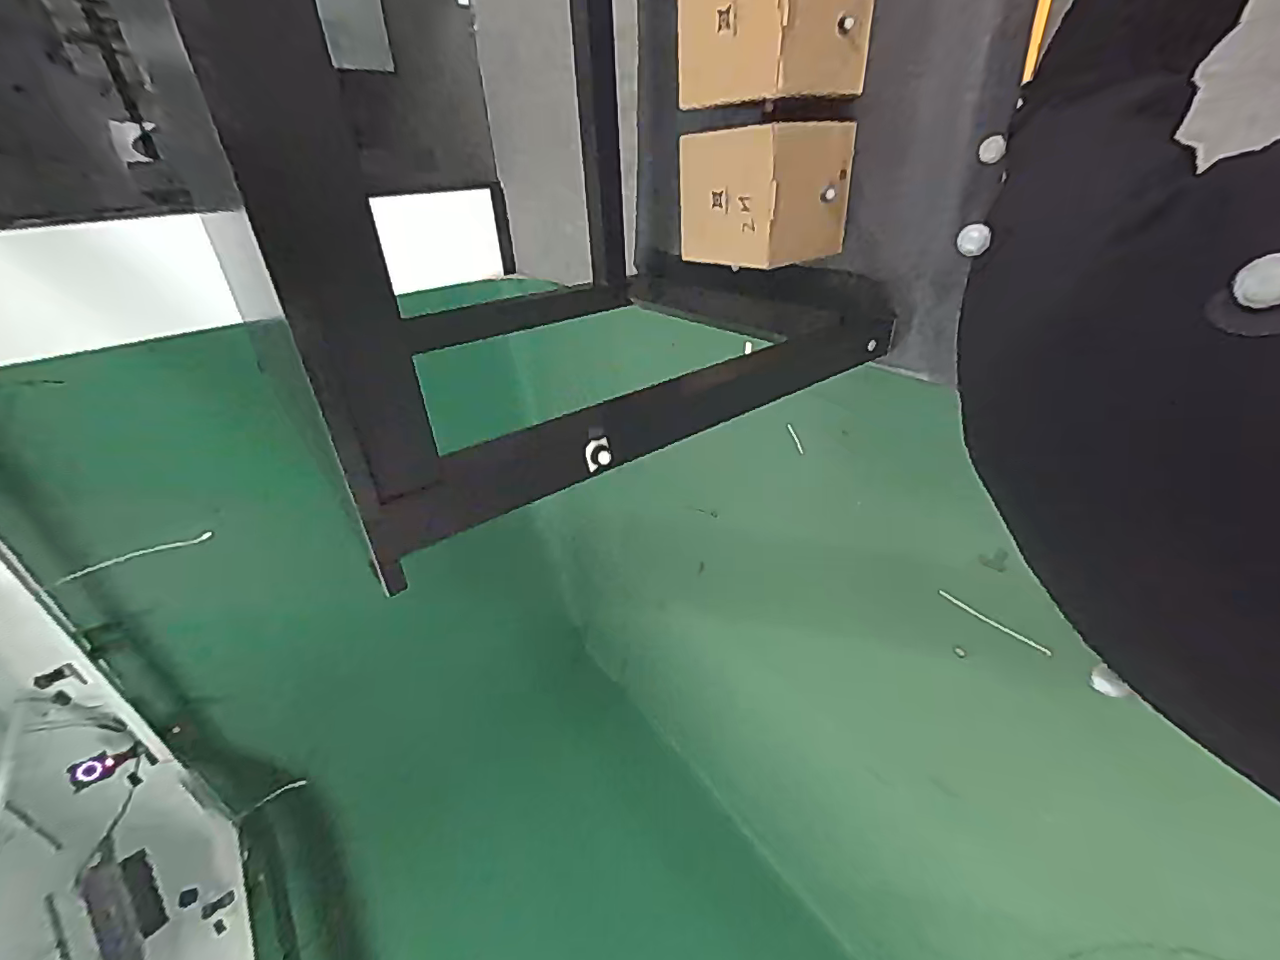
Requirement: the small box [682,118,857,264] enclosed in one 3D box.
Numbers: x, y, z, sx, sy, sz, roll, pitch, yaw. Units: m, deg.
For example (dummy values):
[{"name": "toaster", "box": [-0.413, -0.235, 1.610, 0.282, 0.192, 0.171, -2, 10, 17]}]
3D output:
[{"name": "small box", "box": [0.180, -0.417, 0.782, 0.179, 0.176, 0.168, 30, 135, 45]}]
